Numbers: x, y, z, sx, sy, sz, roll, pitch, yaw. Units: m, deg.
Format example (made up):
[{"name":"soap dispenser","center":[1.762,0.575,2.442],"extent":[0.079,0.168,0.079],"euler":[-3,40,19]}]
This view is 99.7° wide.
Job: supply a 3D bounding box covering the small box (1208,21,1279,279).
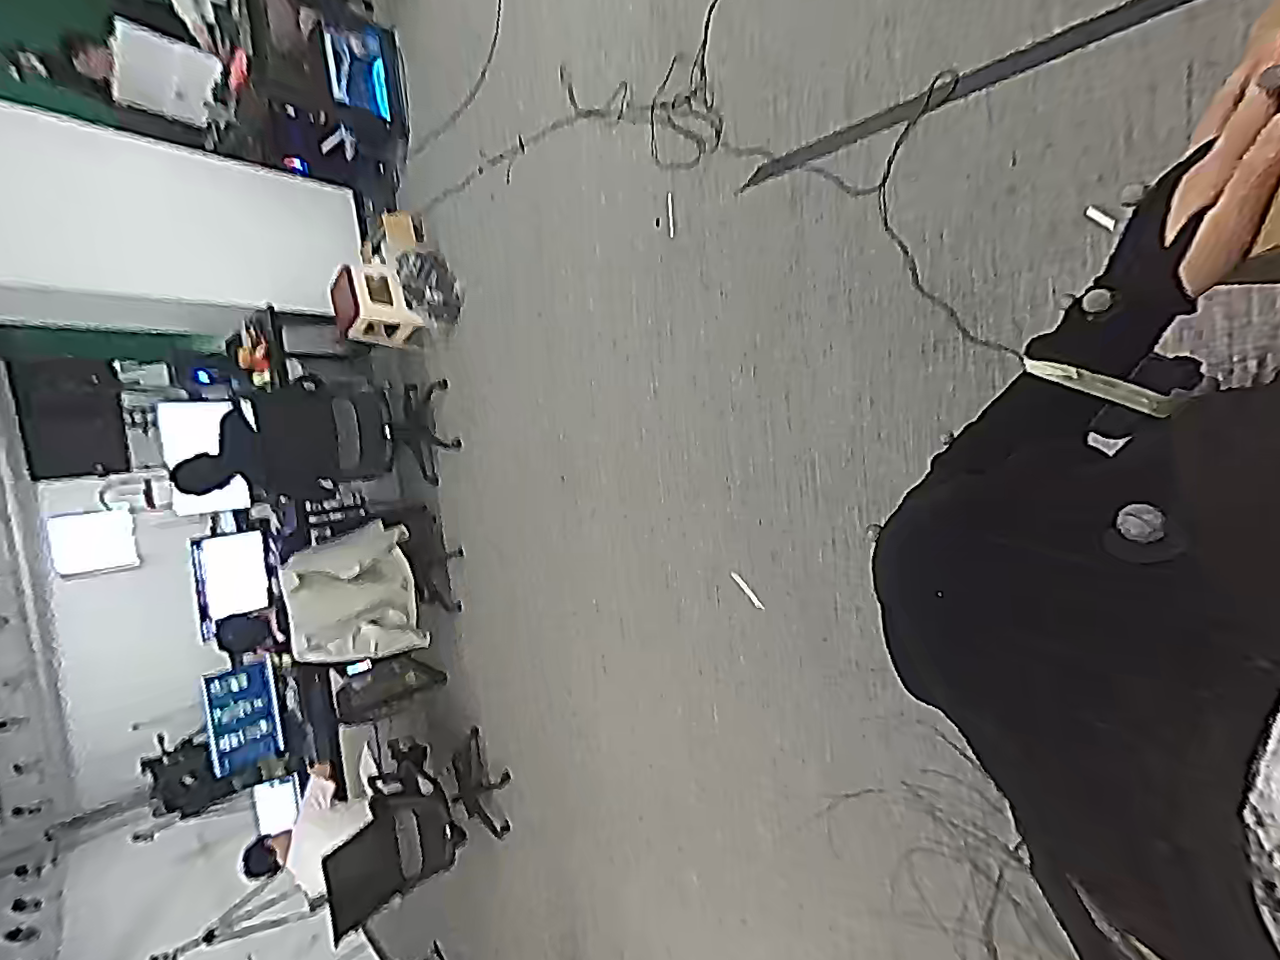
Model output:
[{"name":"small box","center":[0.454,-0.210,0.284],"extent":[0.168,0.176,0.179],"euler":[13,107,32]}]
